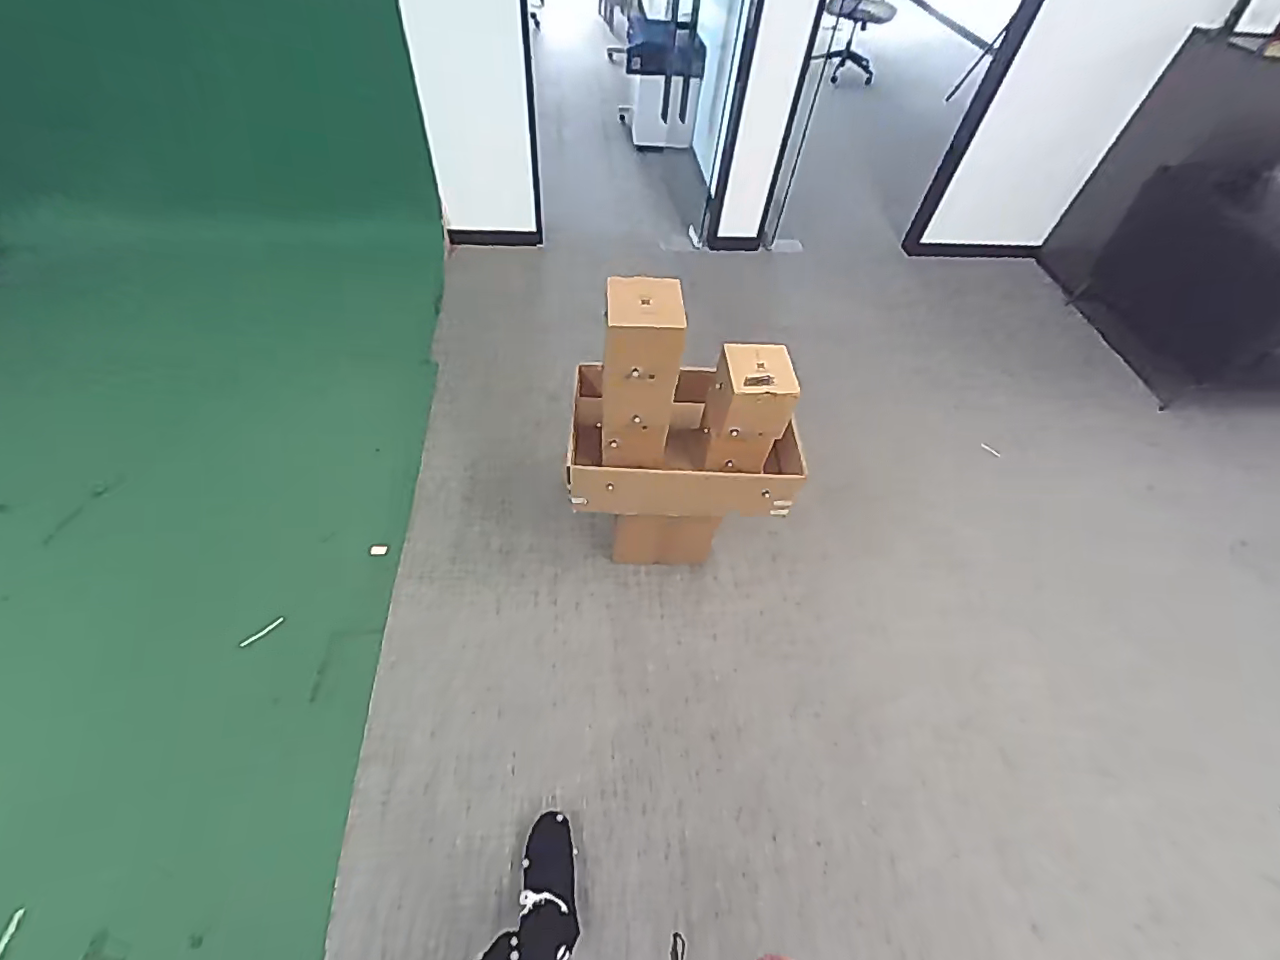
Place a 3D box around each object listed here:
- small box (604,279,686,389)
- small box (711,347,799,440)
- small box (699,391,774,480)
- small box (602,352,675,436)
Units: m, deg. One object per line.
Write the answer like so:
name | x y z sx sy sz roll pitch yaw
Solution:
small box | 0.004 -0.330 1.225 0.168 0.176 0.179 1 53 -5
small box | 0.284 -0.217 1.378 0.168 0.176 0.179 1 53 -6
small box | 0.261 -0.124 1.512 0.168 0.176 0.179 4 53 -4
small box | -0.011 -0.233 1.355 0.168 0.176 0.179 0 53 -5
